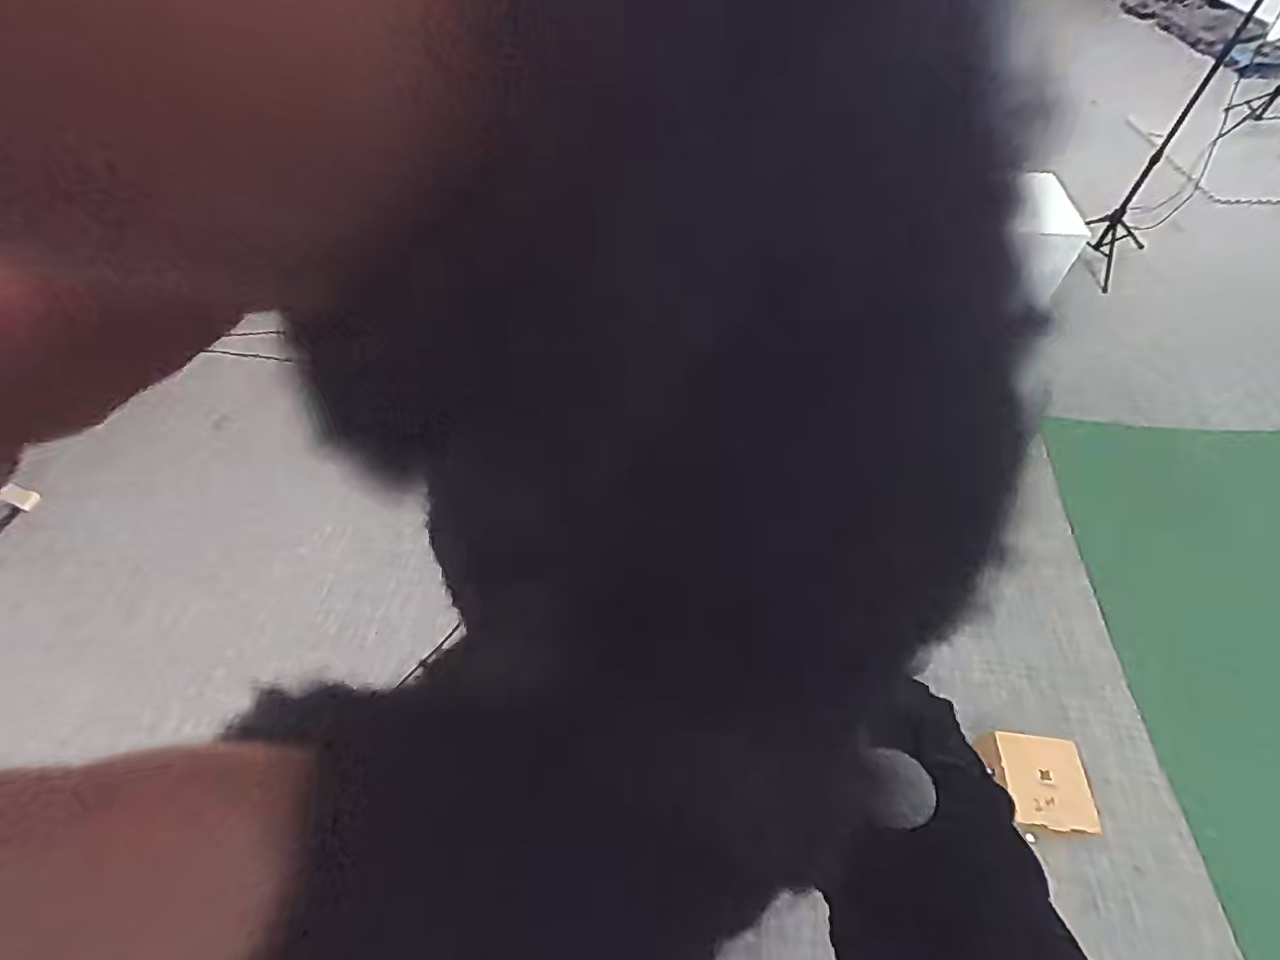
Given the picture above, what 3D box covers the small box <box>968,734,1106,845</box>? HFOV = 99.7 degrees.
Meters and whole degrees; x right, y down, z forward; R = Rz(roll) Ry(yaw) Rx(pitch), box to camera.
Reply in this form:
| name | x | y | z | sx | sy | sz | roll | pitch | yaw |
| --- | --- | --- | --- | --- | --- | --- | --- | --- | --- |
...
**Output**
| name | x | y | z | sx | sy | sz | roll | pitch | yaw |
| --- | --- | --- | --- | --- | --- | --- | --- | --- | --- |
| small box | 0.854 | 0.682 | 1.188 | 0.168 | 0.176 | 0.179 | 4 | 53 | 7 |
